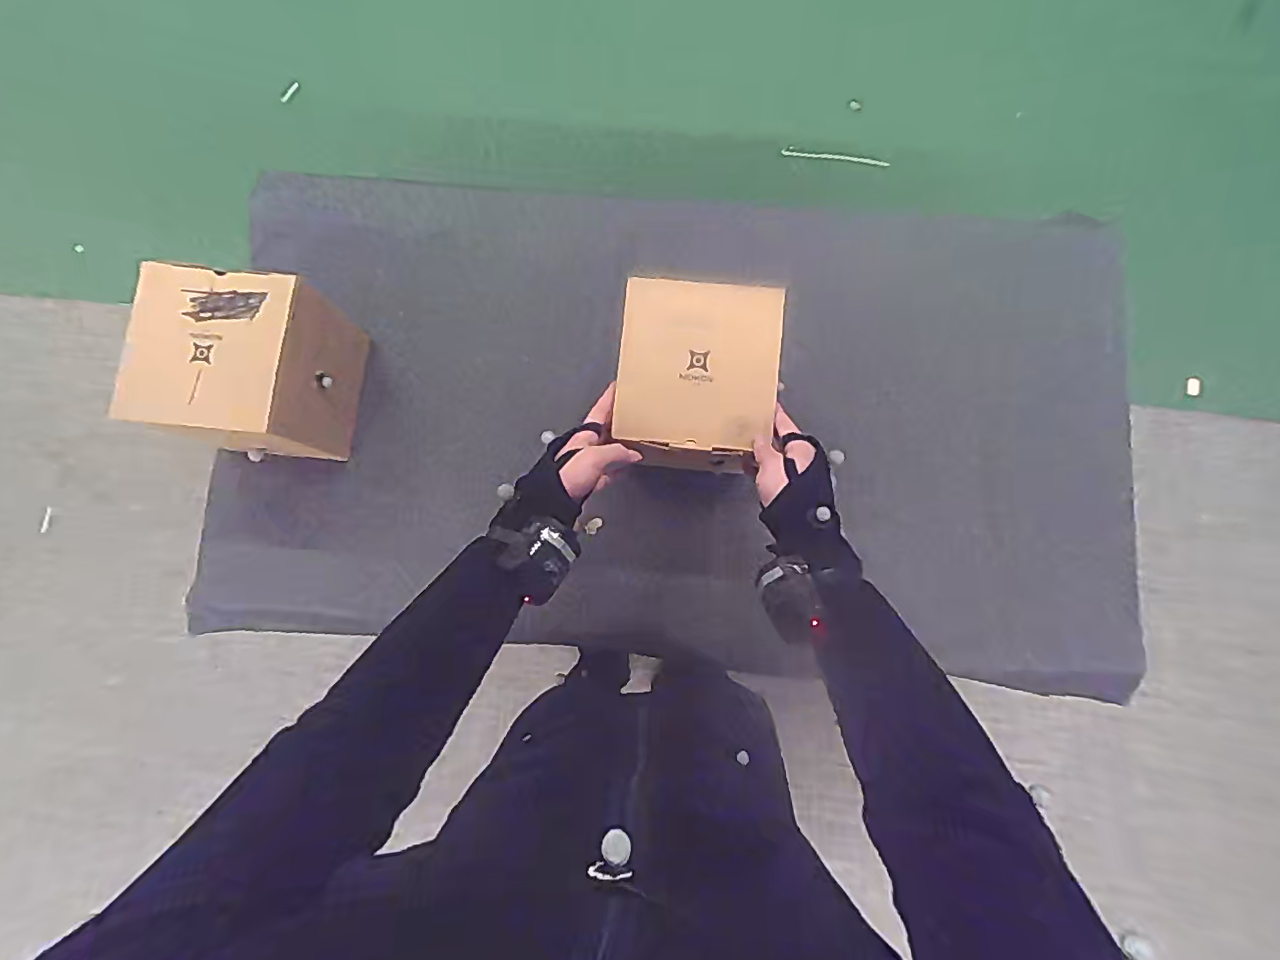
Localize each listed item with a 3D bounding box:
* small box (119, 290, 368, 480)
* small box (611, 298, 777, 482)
[{"bbox_3d":[-0.454,-0.103,0.652,0.168,0.176,0.179,4,82,0],"label":"small box"},{"bbox_3d":[0.060,-0.094,0.643,0.168,0.176,0.179,4,83,2],"label":"small box"}]
